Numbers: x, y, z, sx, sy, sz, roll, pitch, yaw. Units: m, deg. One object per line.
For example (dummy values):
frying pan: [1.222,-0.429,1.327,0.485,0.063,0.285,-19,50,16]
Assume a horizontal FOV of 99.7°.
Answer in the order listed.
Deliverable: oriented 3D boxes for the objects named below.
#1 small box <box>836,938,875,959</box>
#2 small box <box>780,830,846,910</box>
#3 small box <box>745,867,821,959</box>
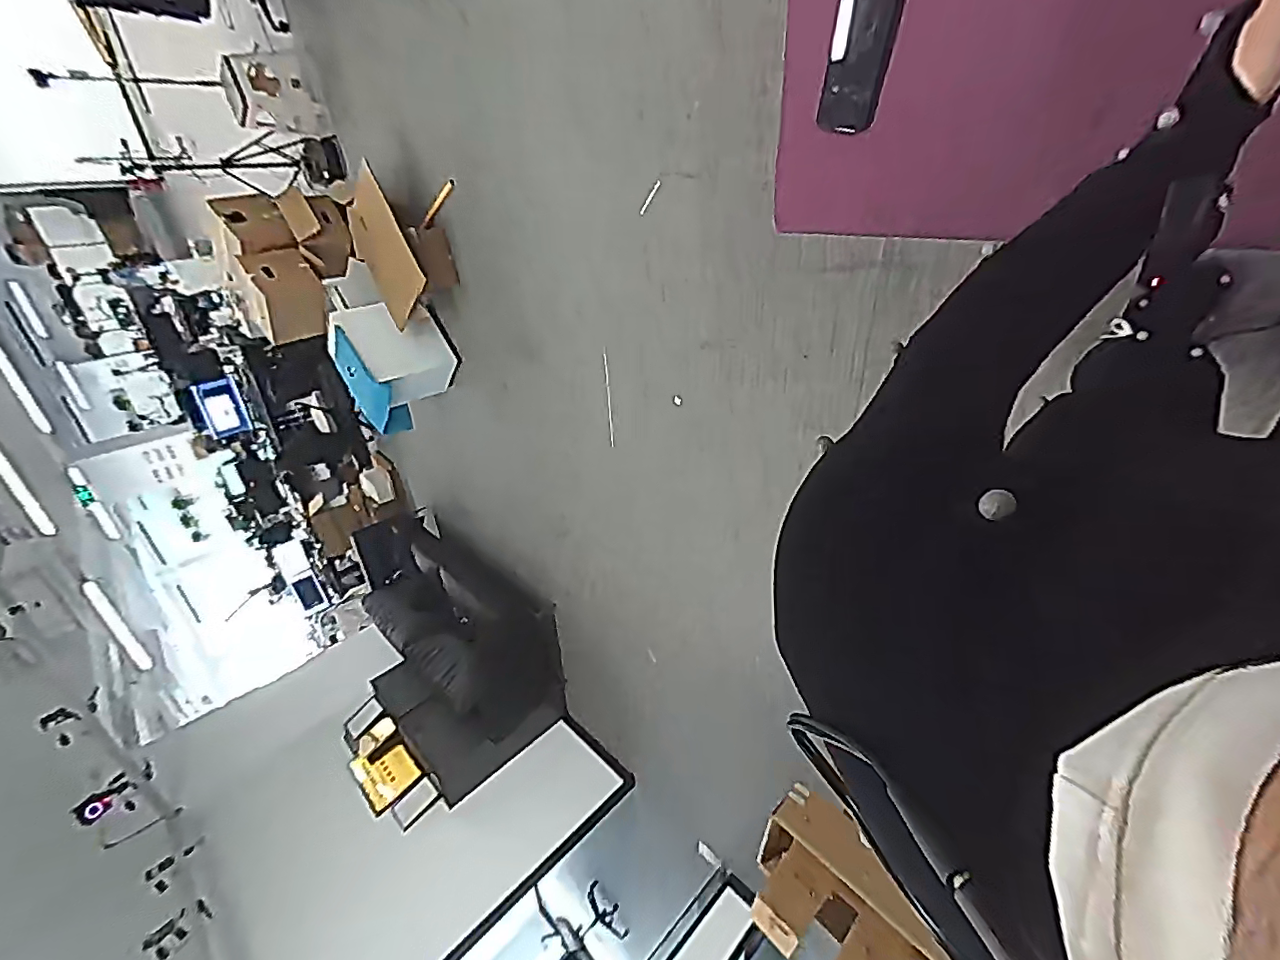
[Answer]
small box: [0.664,1.573,1.657,0.168,0.176,0.179,29,132,36]
small box: [0.599,1.390,1.903,0.168,0.176,0.179,31,132,36]
small box: [0.480,1.448,1.805,0.168,0.176,0.179,32,133,35]
